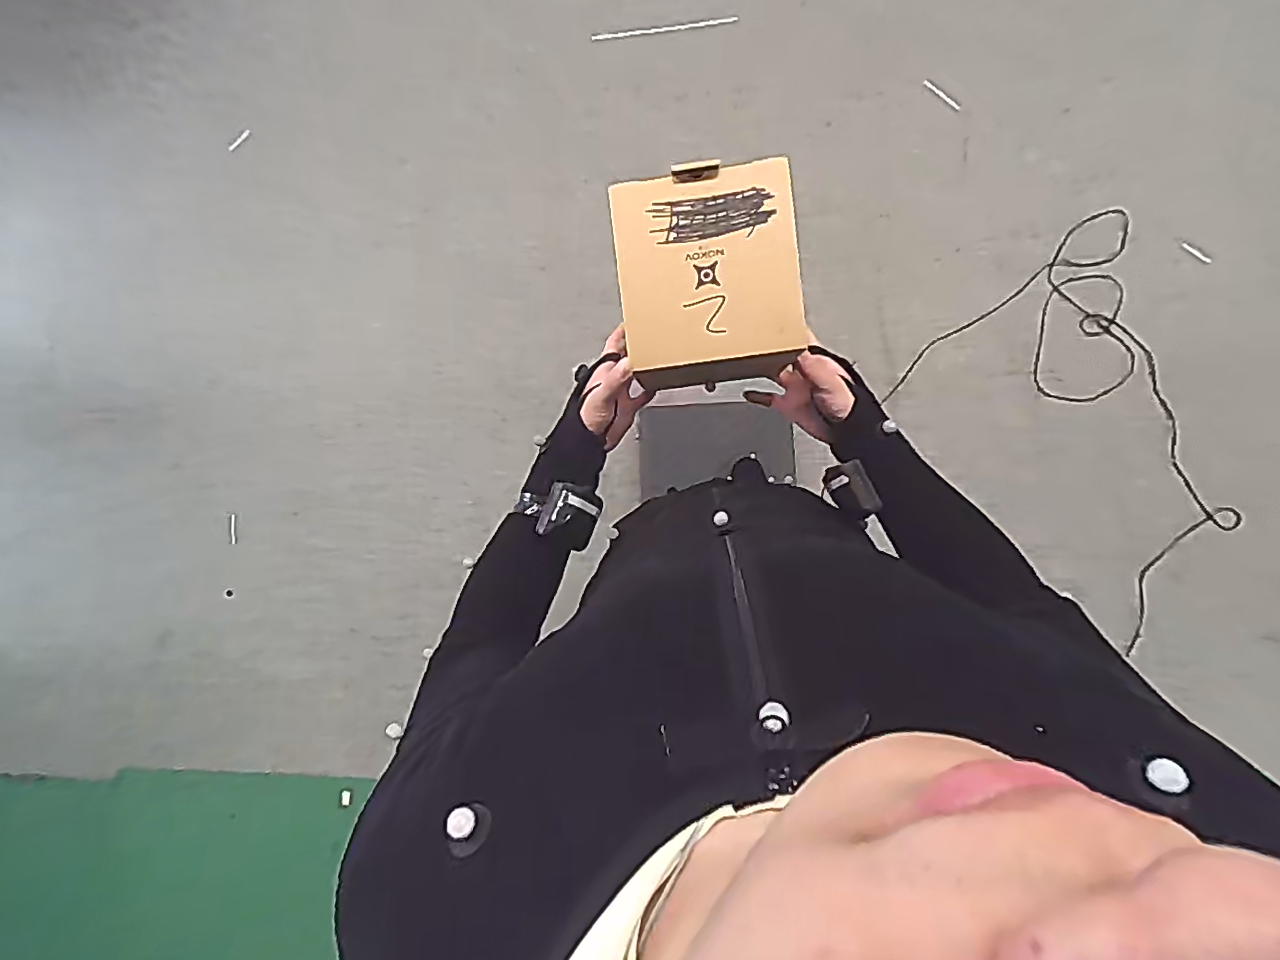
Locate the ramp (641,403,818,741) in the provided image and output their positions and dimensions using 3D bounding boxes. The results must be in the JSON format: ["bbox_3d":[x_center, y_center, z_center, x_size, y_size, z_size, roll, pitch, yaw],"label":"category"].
[{"bbox_3d":[0.250,0.254,1.645,0.509,0.206,0.991,-4,88,8],"label":"ramp"}]
